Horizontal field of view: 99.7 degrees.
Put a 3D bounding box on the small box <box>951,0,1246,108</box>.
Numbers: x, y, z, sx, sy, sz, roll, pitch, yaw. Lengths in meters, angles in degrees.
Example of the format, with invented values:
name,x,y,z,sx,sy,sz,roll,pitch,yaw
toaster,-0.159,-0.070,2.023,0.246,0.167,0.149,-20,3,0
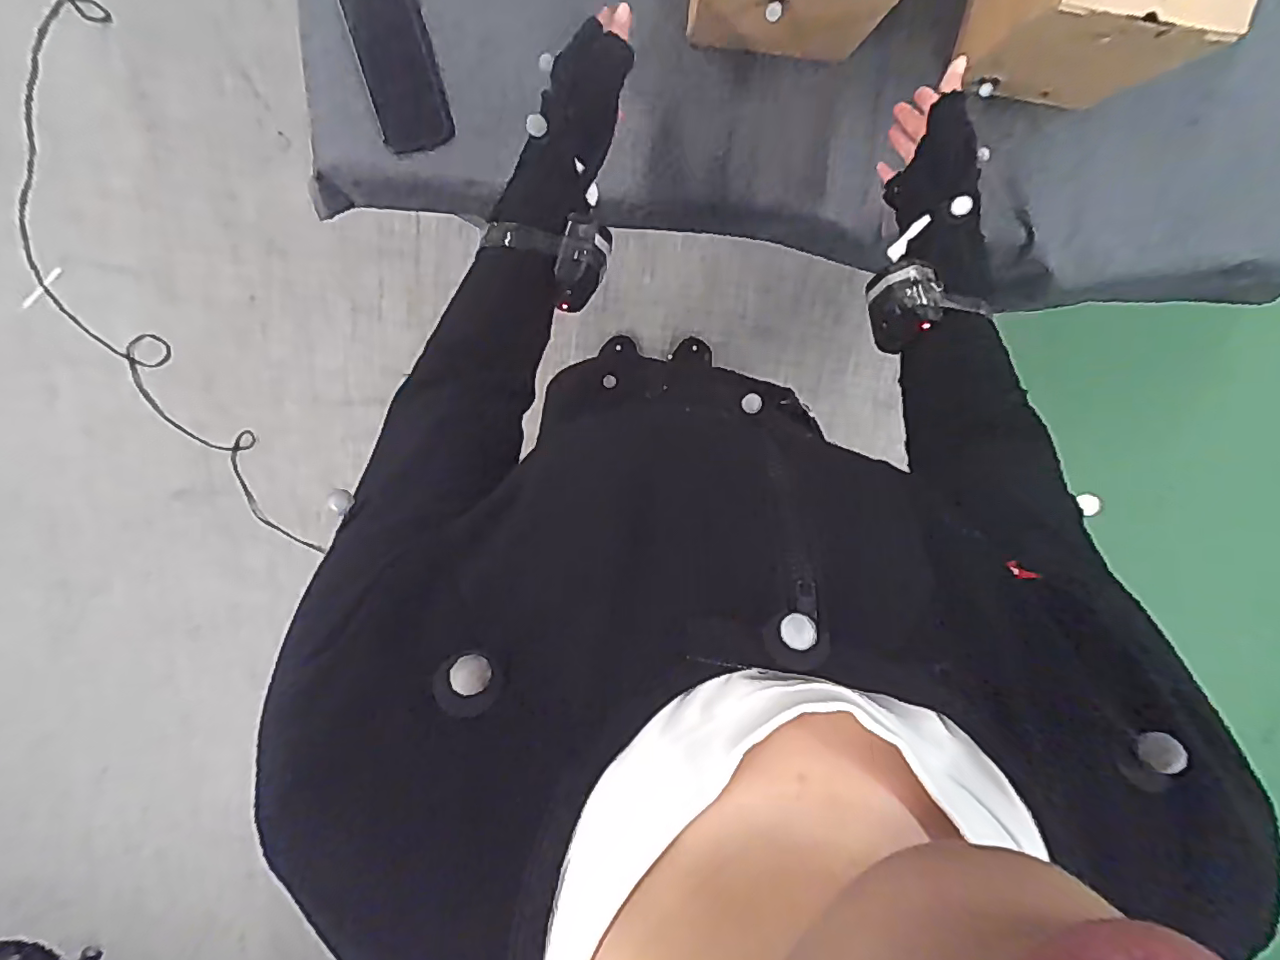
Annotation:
name,x,y,z,sx,sy,sz,roll,pitch,yaw
small box,0.433,-0.487,0.511,0.168,0.176,0.179,7,106,-4

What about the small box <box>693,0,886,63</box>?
name,x,y,z,sx,sy,sz,roll,pitch,yaw
small box,0.149,-0.517,0.491,0.179,0.176,0.168,5,107,-3
